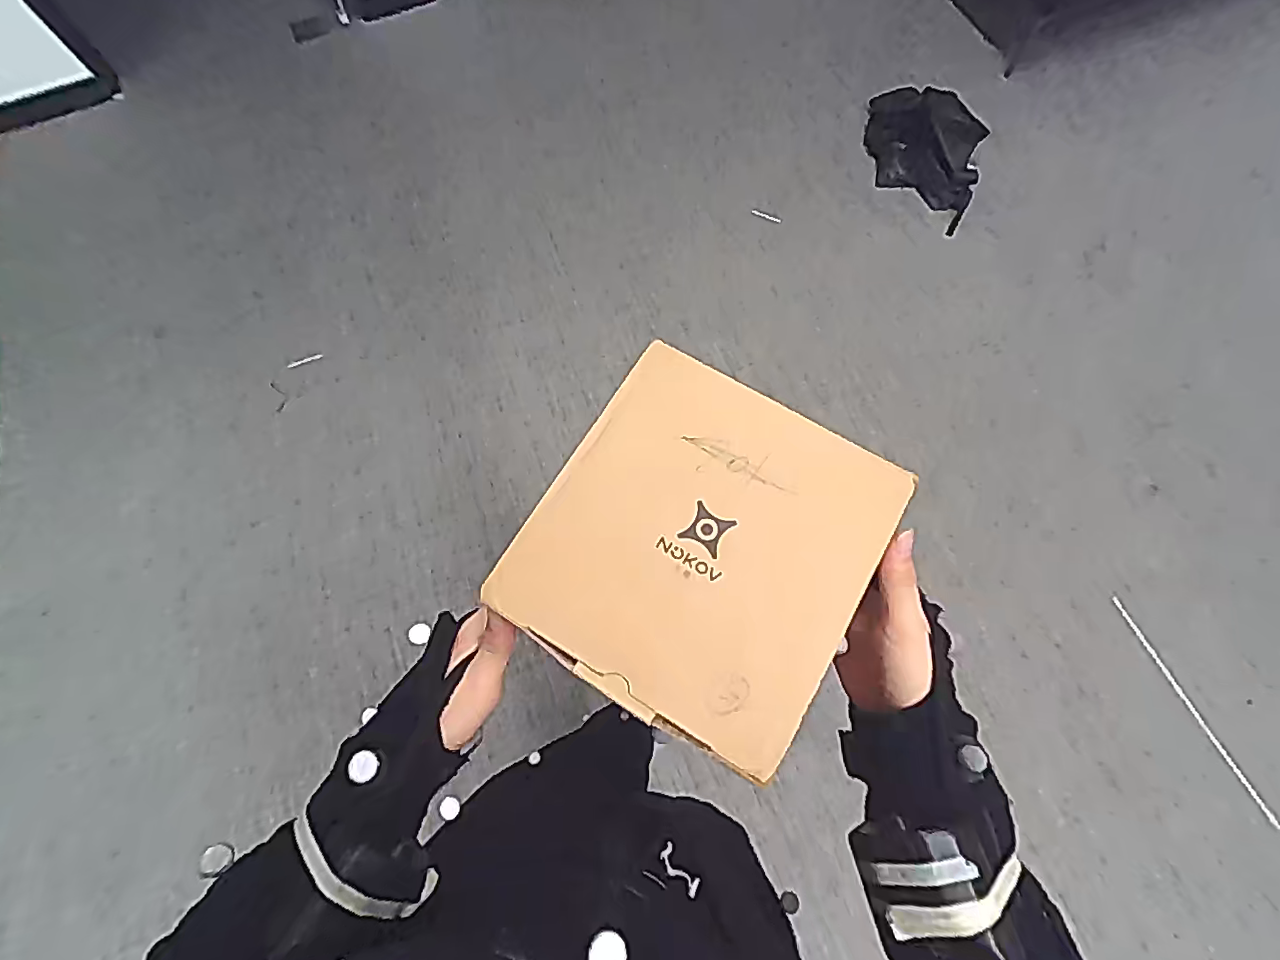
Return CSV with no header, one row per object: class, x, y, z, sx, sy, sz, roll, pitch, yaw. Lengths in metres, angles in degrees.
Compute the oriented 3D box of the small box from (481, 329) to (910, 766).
small box,0.033,0.046,0.354,0.168,0.176,0.179,30,74,9
